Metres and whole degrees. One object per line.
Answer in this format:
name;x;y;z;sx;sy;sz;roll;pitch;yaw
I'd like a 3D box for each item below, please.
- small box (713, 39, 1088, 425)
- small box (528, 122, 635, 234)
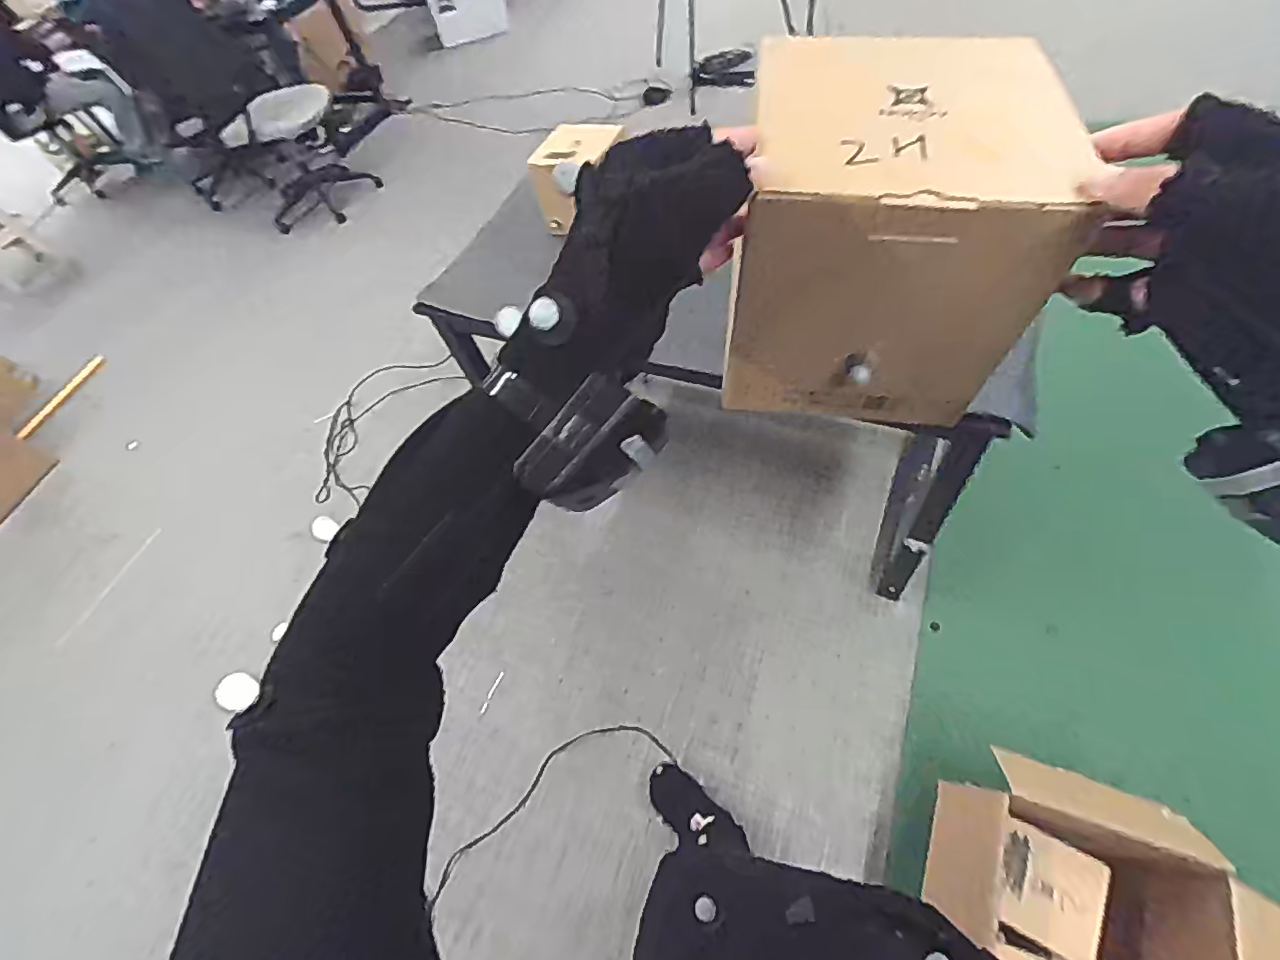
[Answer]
small box;0.141;-0.161;0.369;0.168;0.176;0.179;5;60;6
small box;-0.125;-0.695;1.249;0.168;0.176;0.179;16;61;20
